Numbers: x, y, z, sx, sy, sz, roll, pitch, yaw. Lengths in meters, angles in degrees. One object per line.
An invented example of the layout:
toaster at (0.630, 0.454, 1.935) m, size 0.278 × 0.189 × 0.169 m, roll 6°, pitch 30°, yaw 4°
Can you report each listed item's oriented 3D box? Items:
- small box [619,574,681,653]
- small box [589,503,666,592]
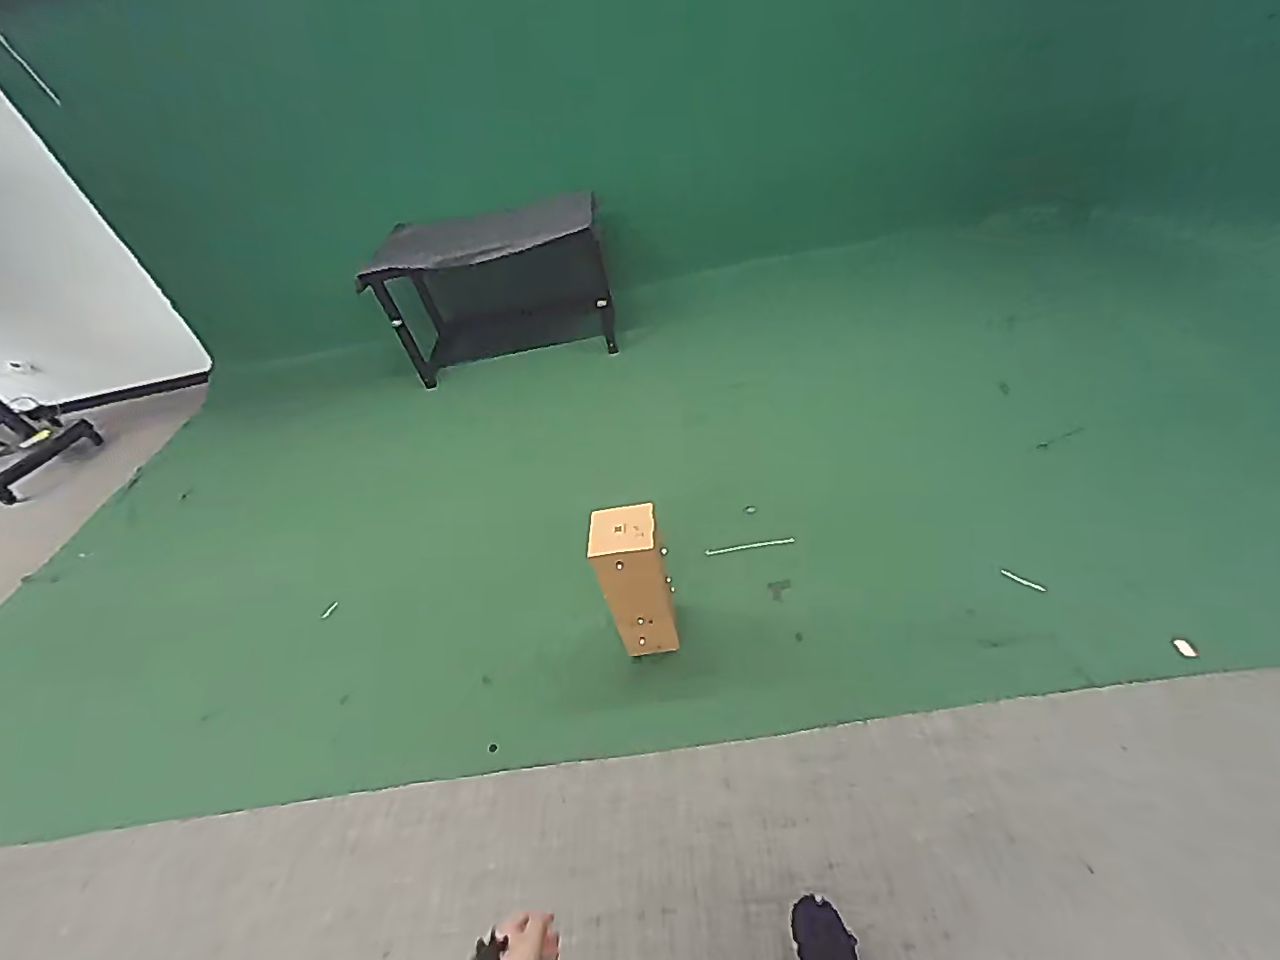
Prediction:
small box at (0.031, 0.425, 1.693) m, size 0.168 × 0.176 × 0.179 m, roll -10°, pitch 41°, yaw 6°
small box at (-0.029, 0.188, 1.472) m, size 0.179 × 0.176 × 0.168 m, roll -8°, pitch 42°, yaw 8°
